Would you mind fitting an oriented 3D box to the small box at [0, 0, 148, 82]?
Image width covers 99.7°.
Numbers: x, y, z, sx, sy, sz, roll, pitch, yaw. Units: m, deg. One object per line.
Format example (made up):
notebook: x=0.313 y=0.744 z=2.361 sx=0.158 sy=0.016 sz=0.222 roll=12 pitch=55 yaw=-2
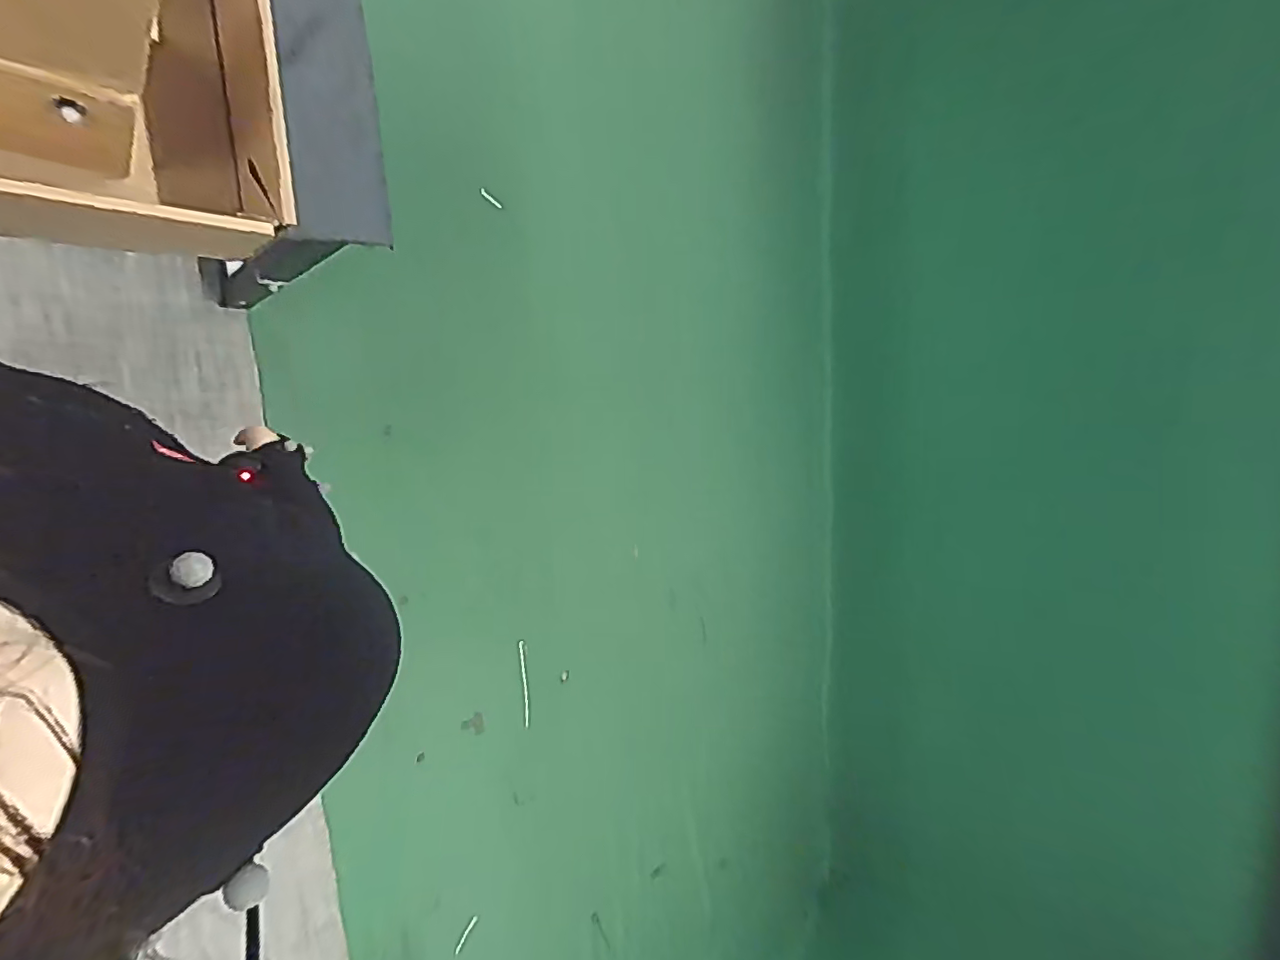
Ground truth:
small box: x=-0.406 y=-0.370 z=0.305 sx=0.179 sy=0.176 sz=0.168 roll=-13 pitch=103 yaw=-46
